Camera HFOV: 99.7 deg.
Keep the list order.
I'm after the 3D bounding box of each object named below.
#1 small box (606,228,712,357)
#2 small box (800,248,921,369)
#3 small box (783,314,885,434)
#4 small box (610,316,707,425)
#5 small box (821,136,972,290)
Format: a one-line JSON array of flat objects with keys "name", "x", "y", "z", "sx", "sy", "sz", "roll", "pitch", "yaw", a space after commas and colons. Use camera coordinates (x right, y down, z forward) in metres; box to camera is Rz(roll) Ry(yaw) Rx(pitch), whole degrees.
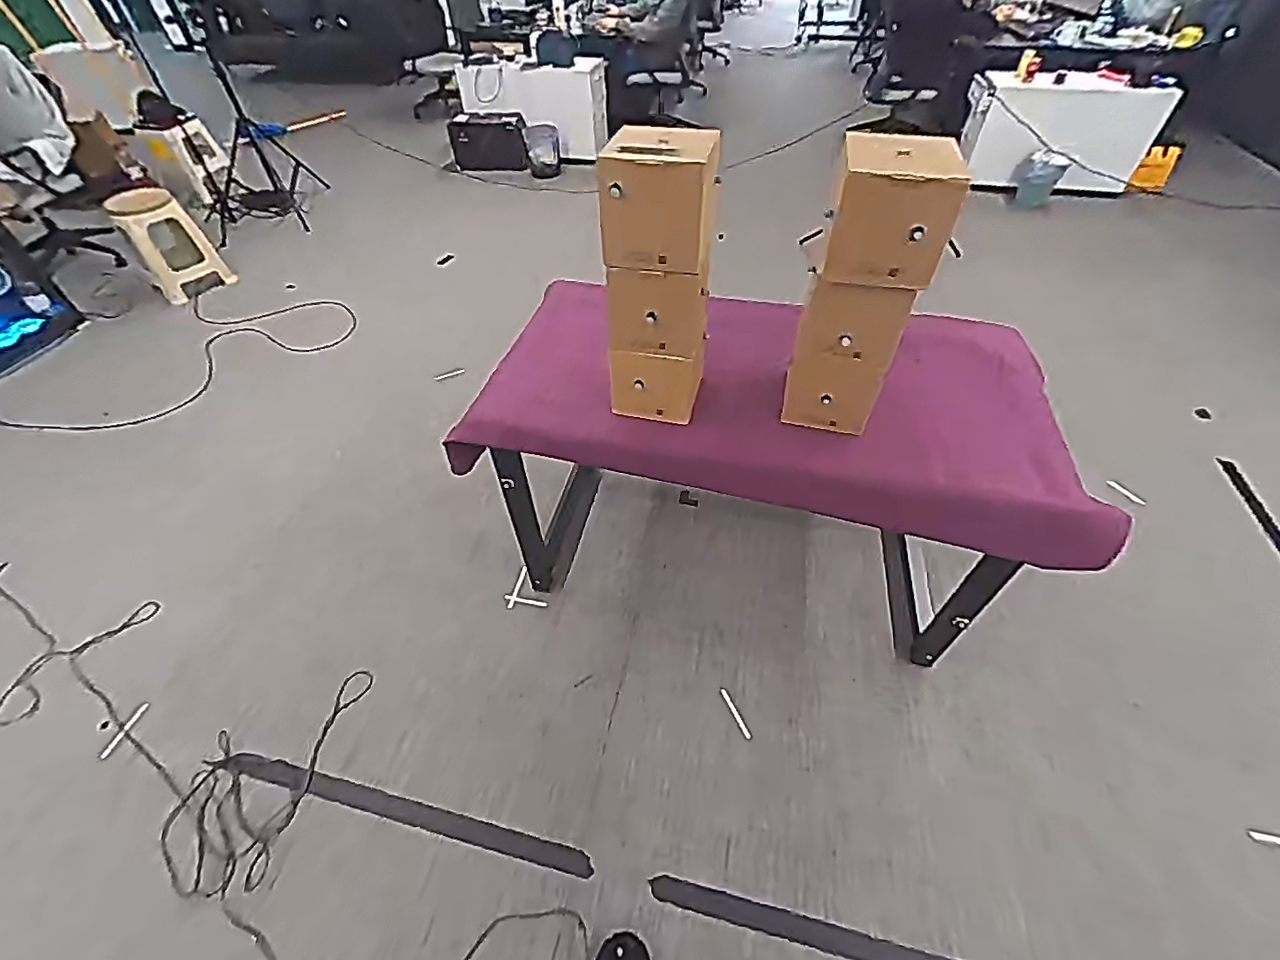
[{"name": "small box", "x": 0.040, "y": -0.354, "z": 1.025, "sx": 0.168, "sy": 0.176, "sz": 0.179, "roll": 9, "pitch": 48, "yaw": 8}, {"name": "small box", "x": 0.398, "y": -0.331, "z": 0.996, "sx": 0.168, "sy": 0.176, "sz": 0.179, "roll": 11, "pitch": 50, "yaw": 11}, {"name": "small box", "x": 0.396, "y": -0.219, "z": 1.116, "sx": 0.168, "sy": 0.176, "sz": 0.179, "roll": 12, "pitch": 49, "yaw": 11}, {"name": "small box", "x": 0.042, "y": -0.239, "z": 1.142, "sx": 0.168, "sy": 0.176, "sz": 0.179, "roll": 10, "pitch": 48, "yaw": 10}, {"name": "small box", "x": 0.392, "y": -0.423, "z": 0.860, "sx": 0.168, "sy": 0.176, "sz": 0.179, "roll": 9, "pitch": 48, "yaw": 8}]
